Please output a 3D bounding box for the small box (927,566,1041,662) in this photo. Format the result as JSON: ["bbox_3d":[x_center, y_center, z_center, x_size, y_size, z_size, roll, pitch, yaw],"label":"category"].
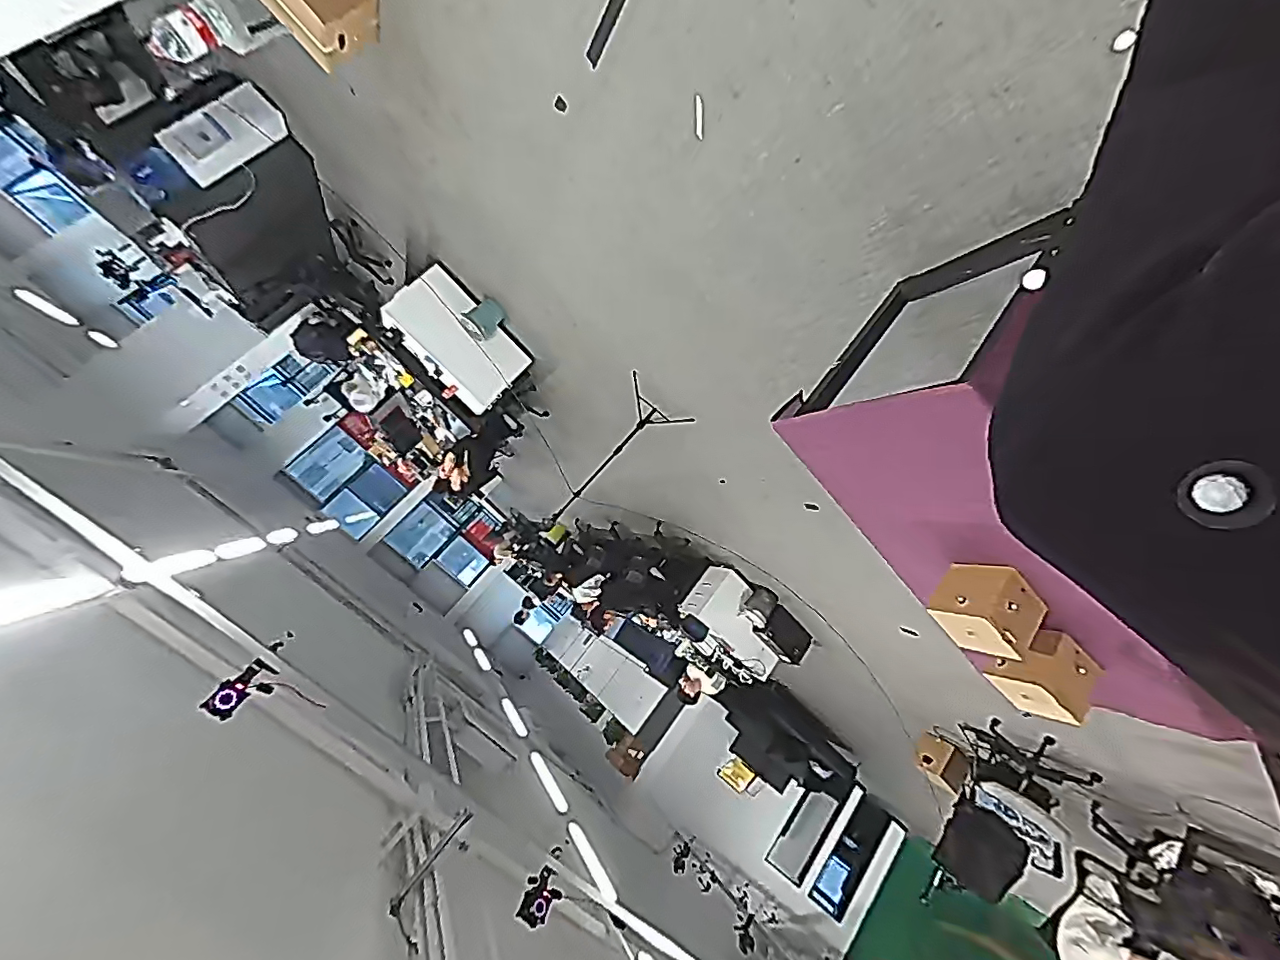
[{"bbox_3d":[0.906,0.341,1.414,0.168,0.176,0.179,46,162,-13],"label":"small box"}]

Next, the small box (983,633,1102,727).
[{"bbox_3d":[1.093,0.529,1.469,0.168,0.176,0.179,43,162,-7],"label":"small box"}]
